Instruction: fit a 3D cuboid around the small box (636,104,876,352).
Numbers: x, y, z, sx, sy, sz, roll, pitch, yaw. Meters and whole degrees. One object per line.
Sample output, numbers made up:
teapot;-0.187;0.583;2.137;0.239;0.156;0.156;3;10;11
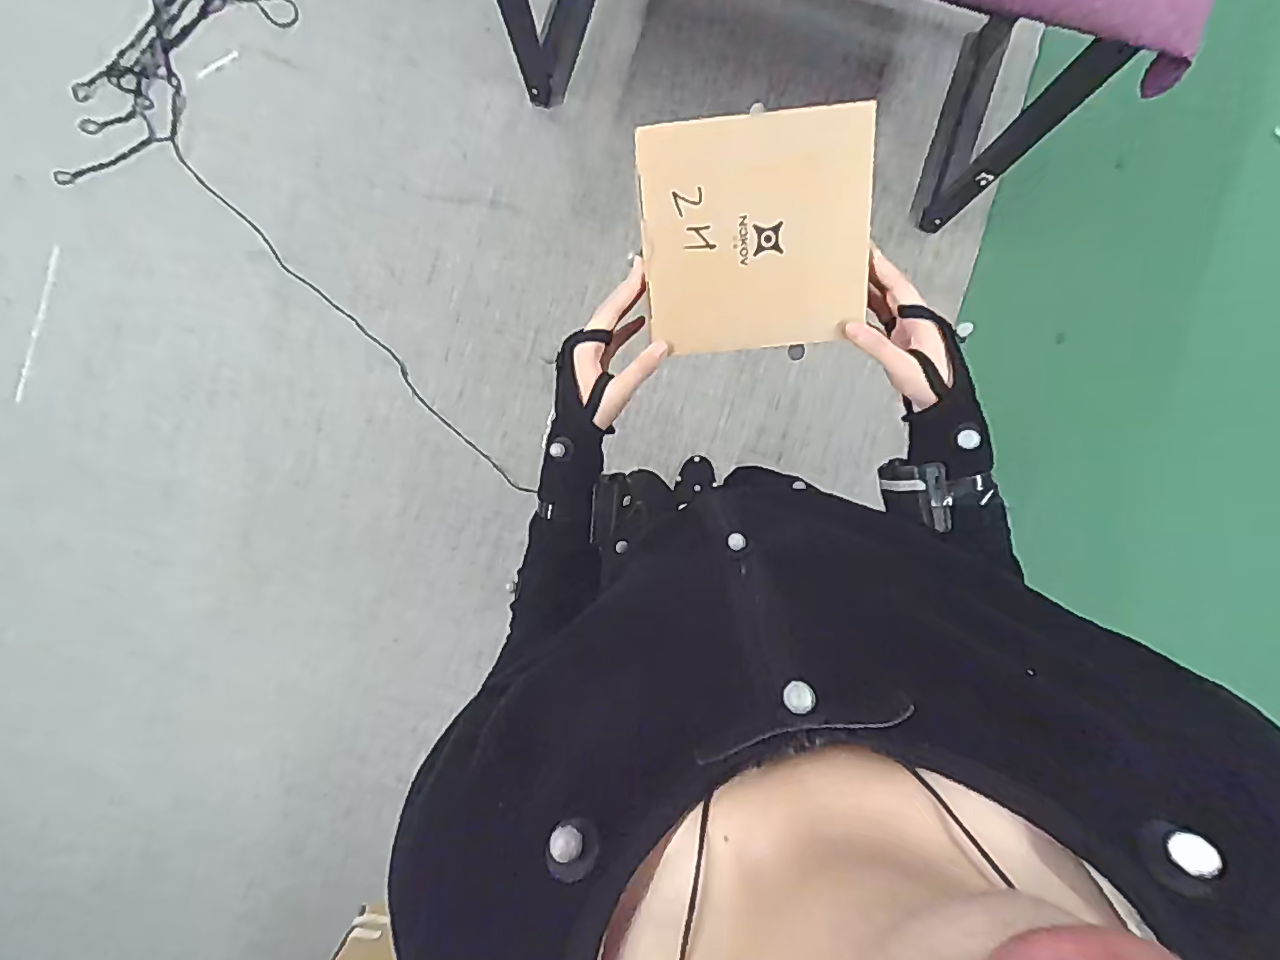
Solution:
small box;0.089;-0.214;0.491;0.179;0.176;0.168;-5;109;2
